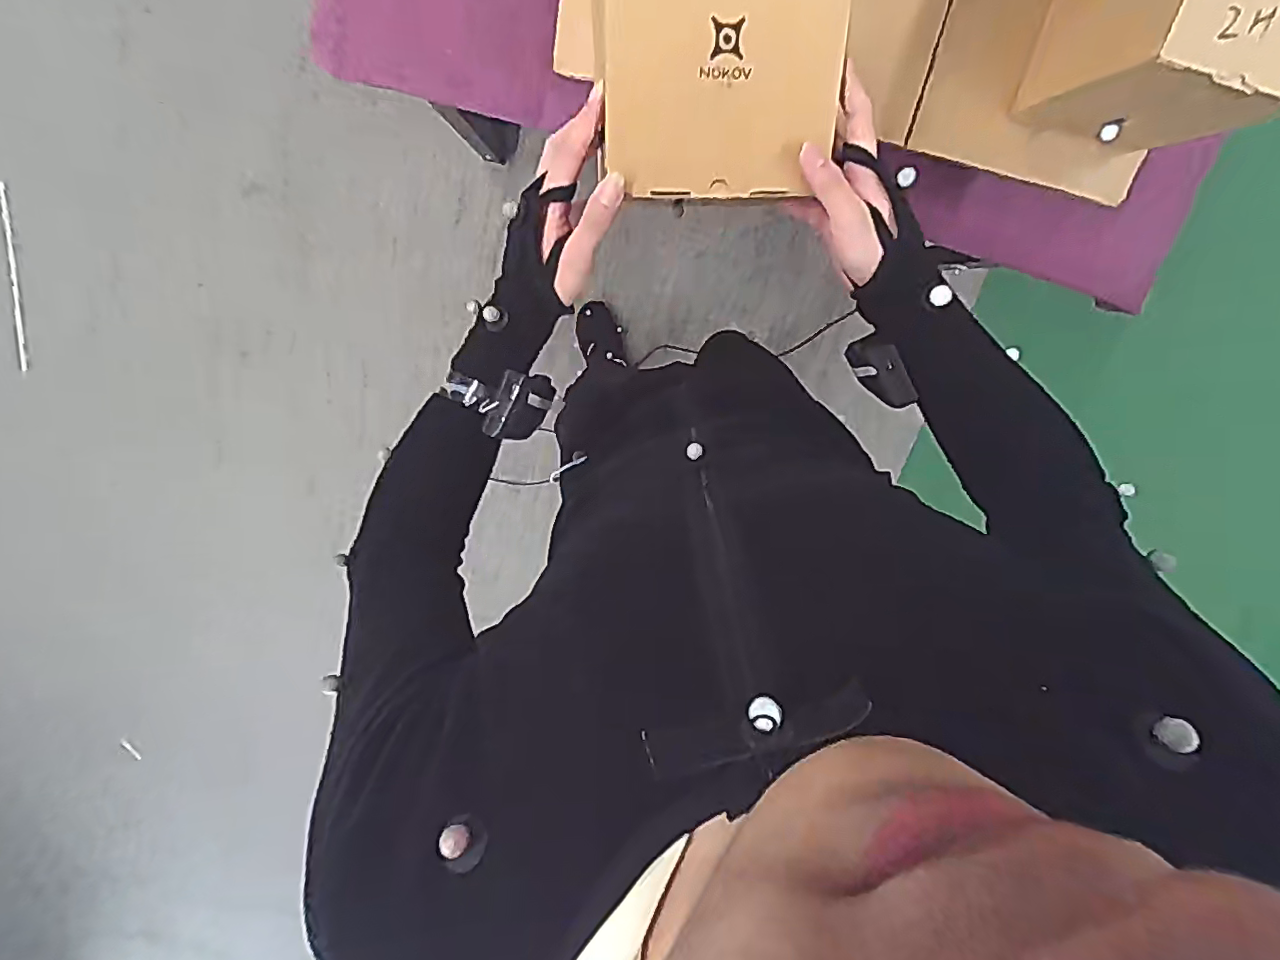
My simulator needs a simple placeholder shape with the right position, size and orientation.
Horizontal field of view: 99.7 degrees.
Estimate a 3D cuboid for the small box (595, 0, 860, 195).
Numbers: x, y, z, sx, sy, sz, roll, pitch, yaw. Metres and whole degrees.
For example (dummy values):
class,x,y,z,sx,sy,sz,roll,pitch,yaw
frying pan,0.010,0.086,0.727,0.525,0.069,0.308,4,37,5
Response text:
class,x,y,z,sx,sy,sz,roll,pitch,yaw
small box,0.051,-0.324,0.420,0.168,0.176,0.179,-2,117,-5
